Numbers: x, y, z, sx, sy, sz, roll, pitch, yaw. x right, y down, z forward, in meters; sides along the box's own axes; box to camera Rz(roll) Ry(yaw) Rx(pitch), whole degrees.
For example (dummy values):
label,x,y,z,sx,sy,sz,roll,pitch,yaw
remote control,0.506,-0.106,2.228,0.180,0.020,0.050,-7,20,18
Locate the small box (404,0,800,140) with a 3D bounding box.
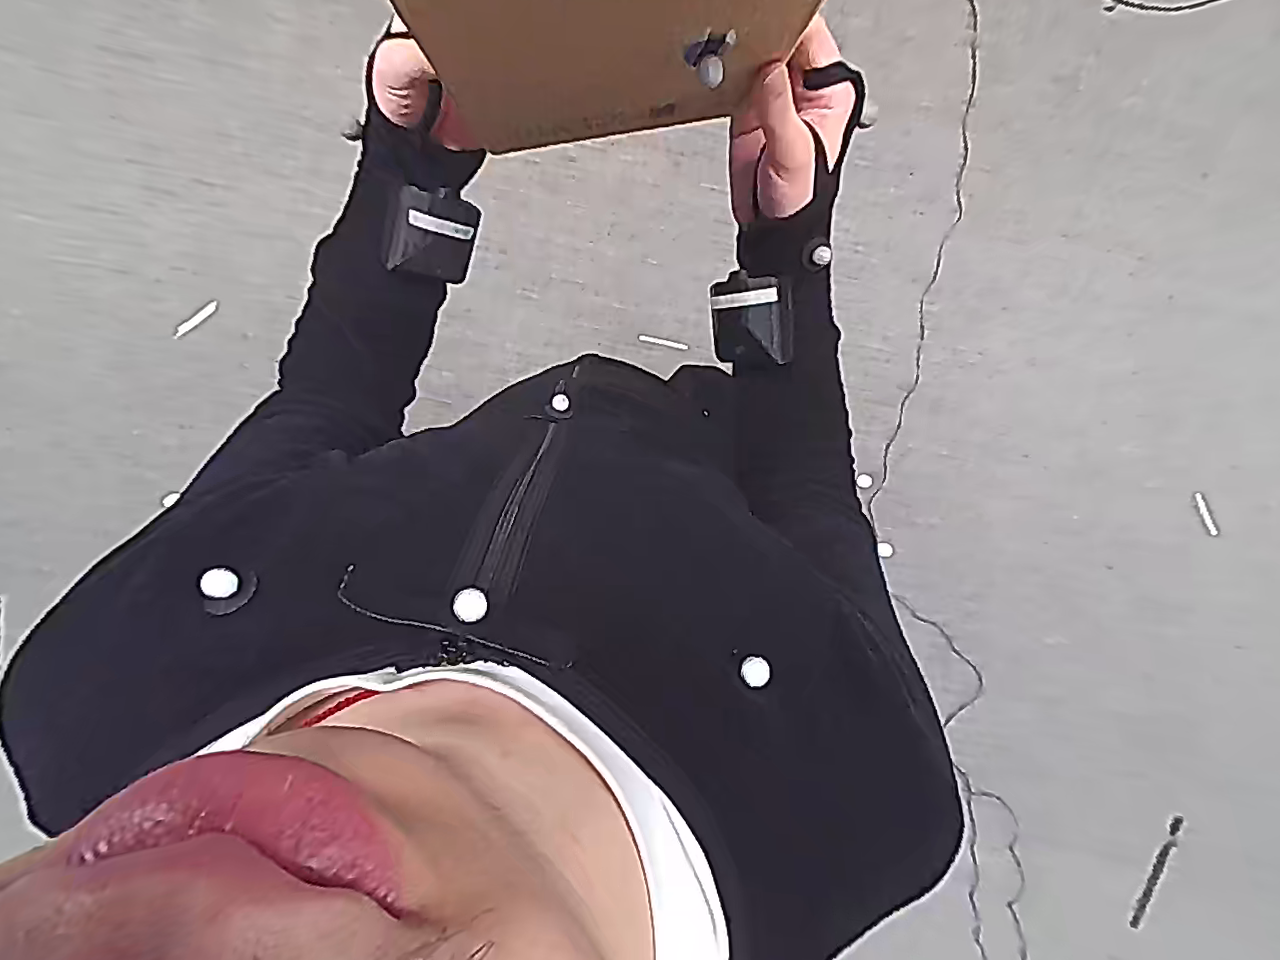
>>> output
label,x,y,z,sx,sy,sz,roll,pitch,yaw
small box,-0.019,-0.276,0.237,0.168,0.176,0.179,-10,104,-2
